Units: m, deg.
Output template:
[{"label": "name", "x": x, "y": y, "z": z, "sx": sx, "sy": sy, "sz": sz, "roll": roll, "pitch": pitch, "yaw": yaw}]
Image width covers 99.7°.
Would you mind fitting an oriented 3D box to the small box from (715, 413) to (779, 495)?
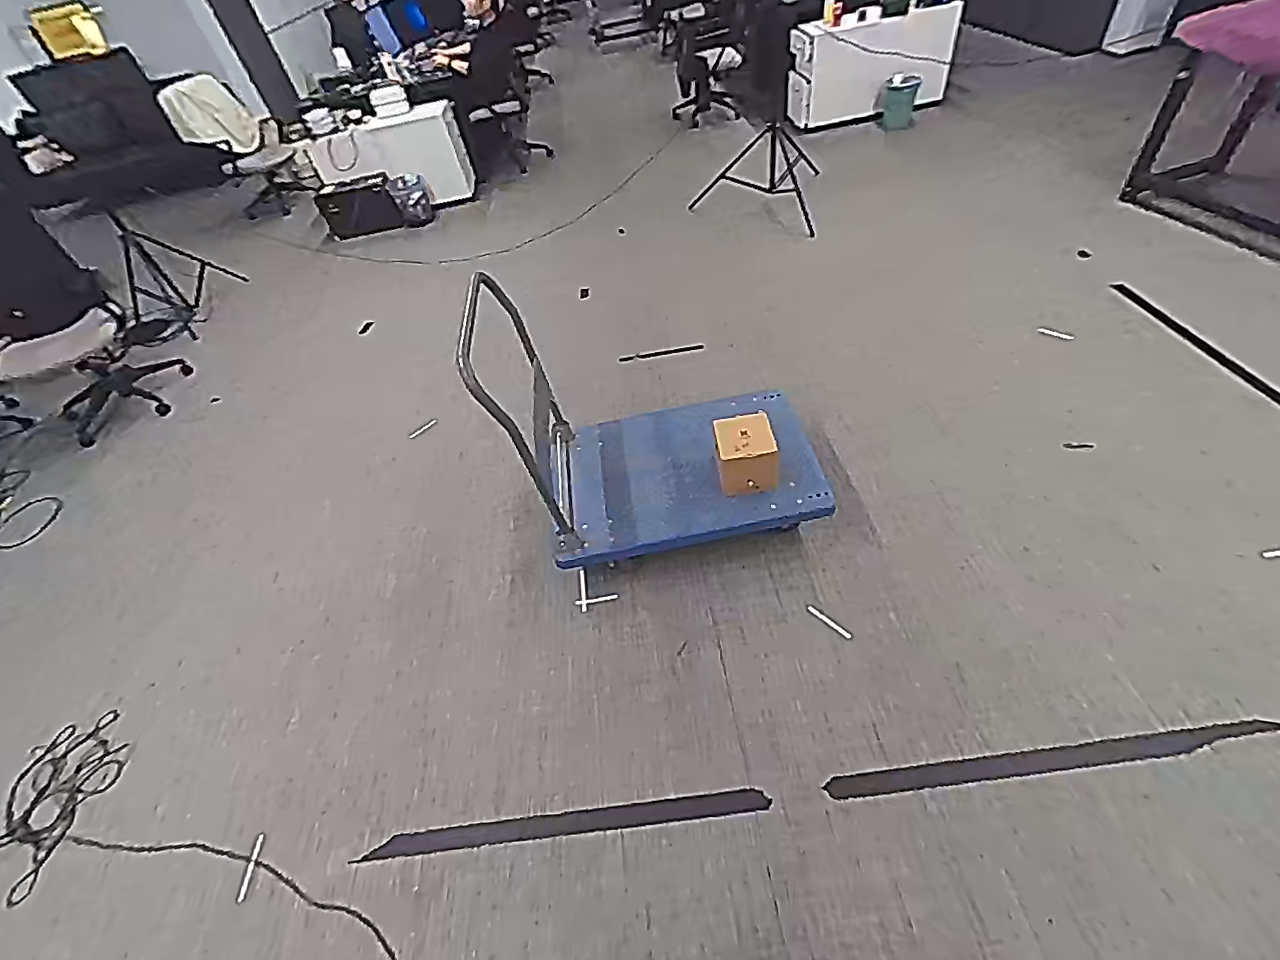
[{"label": "small box", "x": 0.327, "y": -0.079, "z": 1.670, "sx": 0.168, "sy": 0.176, "sz": 0.179, "roll": -9, "pitch": 47, "yaw": 5}]
